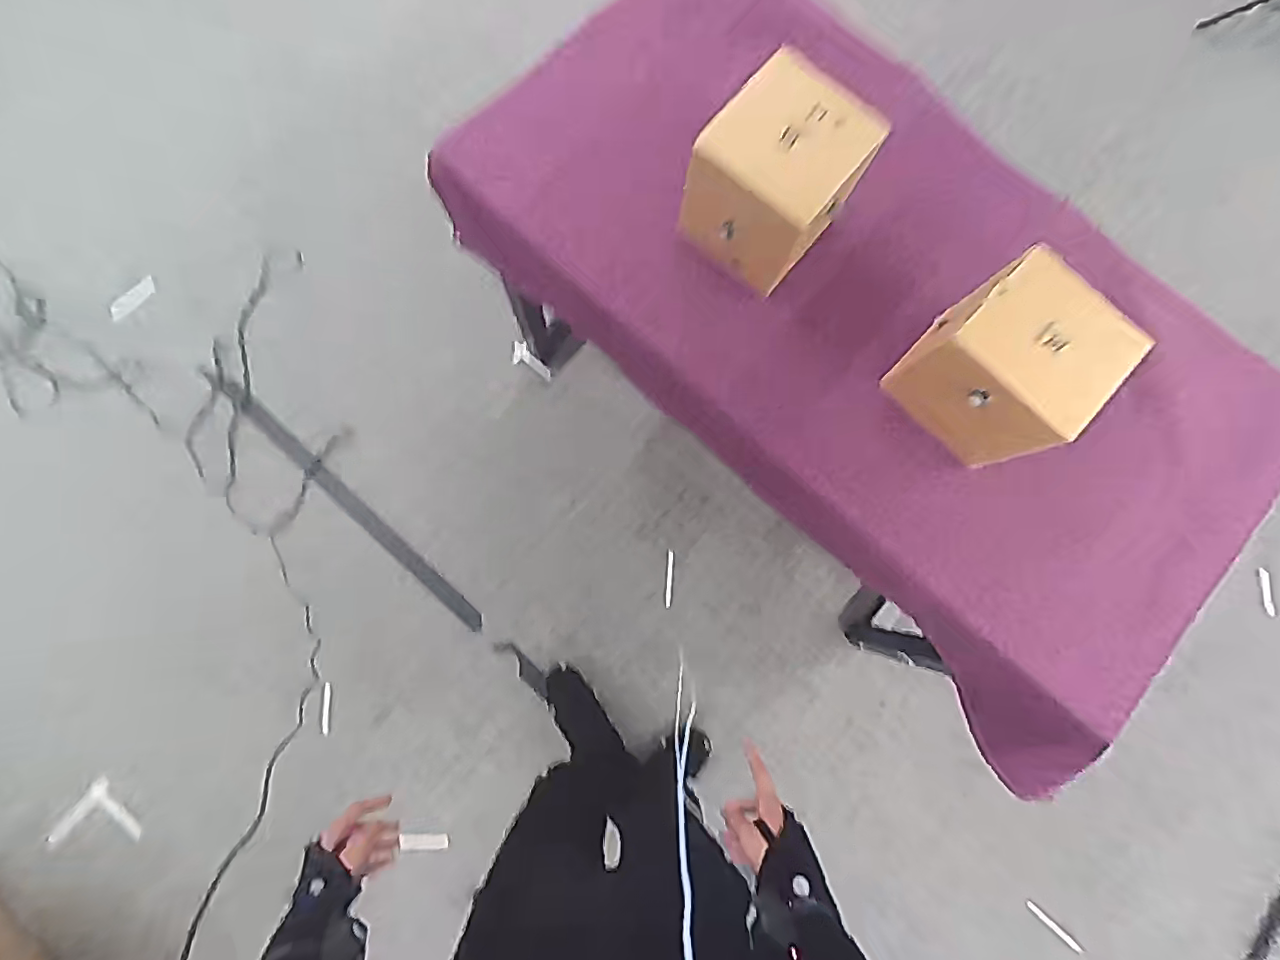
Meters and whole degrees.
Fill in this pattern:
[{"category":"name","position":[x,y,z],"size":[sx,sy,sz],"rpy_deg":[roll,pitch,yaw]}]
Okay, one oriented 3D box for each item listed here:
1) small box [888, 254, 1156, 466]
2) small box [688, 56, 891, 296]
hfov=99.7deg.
[{"category":"small box","position":[0.461,-0.134,0.682],"size":[0.179,0.176,0.168],"rpy_deg":[44,81,6]},{"category":"small box","position":[0.178,-0.379,0.706],"size":[0.168,0.176,0.179],"rpy_deg":[40,81,4]}]
